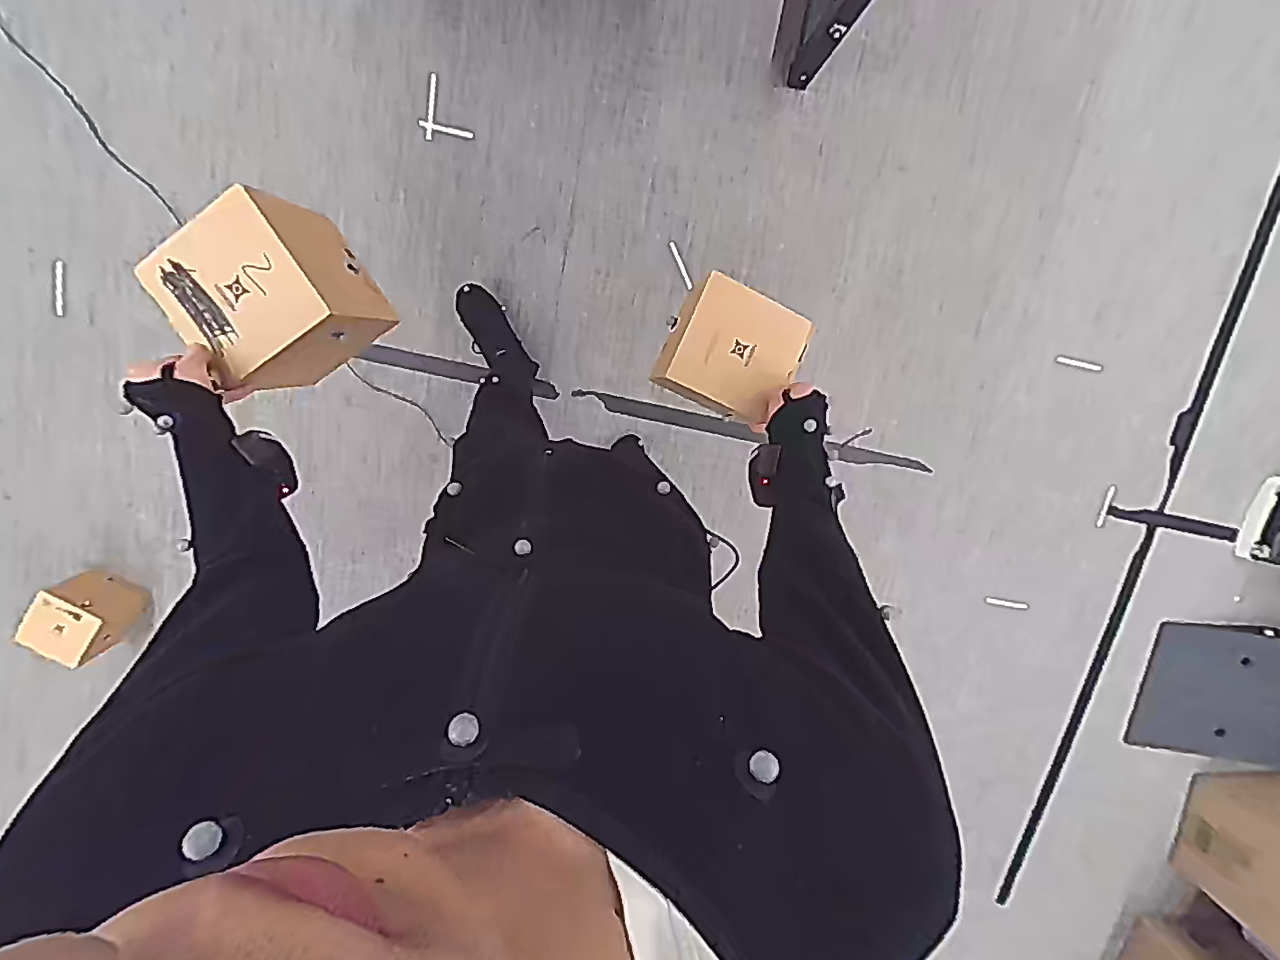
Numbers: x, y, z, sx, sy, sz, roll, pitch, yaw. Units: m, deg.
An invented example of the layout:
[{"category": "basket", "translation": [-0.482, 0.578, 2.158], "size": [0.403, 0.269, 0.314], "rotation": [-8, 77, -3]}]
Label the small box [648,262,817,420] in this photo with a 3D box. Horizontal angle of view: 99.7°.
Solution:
[{"category": "small box", "translation": [0.132, -0.207, 0.839], "size": [0.179, 0.176, 0.168], "rotation": [24, 94, -12]}]

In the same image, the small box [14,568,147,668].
[{"category": "small box", "translation": [-1.545, 0.378, 1.507], "size": [0.168, 0.176, 0.179], "rotation": [35, 98, -11]}]
